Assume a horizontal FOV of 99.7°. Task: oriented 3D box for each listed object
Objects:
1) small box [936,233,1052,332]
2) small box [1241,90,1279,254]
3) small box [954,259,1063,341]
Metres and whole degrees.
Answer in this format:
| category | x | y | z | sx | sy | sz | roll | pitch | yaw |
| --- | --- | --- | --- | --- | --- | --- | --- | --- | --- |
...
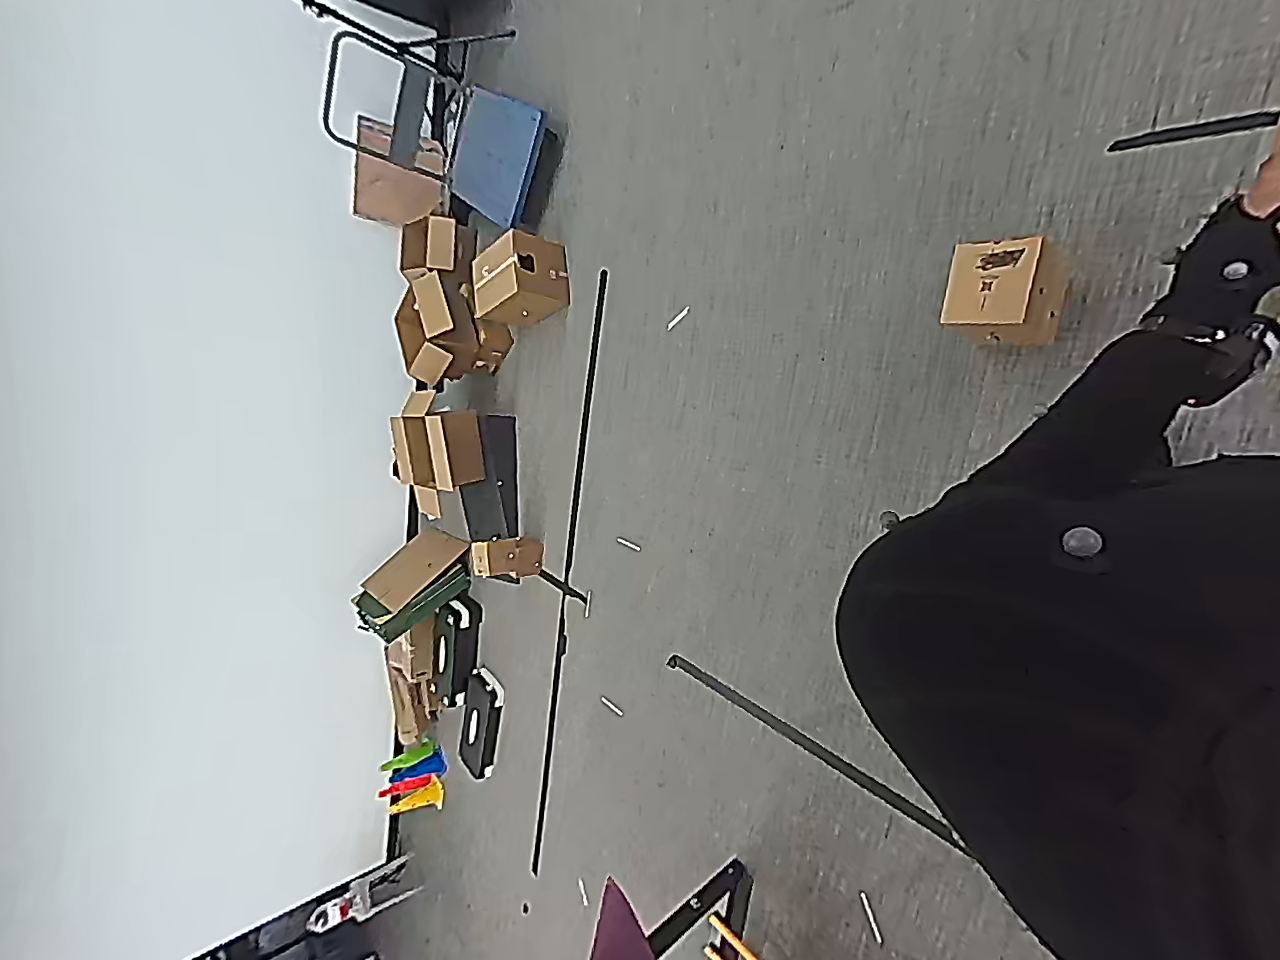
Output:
| category | x | y | z | sx | sy | sz | roll | pitch | yaw |
| --- | --- | --- | --- | --- | --- | --- | --- | --- | --- |
| small box | 0.800 | -0.437 | 1.218 | 0.168 | 0.176 | 0.179 | 18 | 105 | 45 |
| small box | 0.655 | -0.299 | 0.455 | 0.168 | 0.176 | 0.179 | 13 | 103 | 39 |
| small box | 0.914 | -0.441 | 1.336 | 0.179 | 0.176 | 0.168 | 17 | 104 | 45 |
